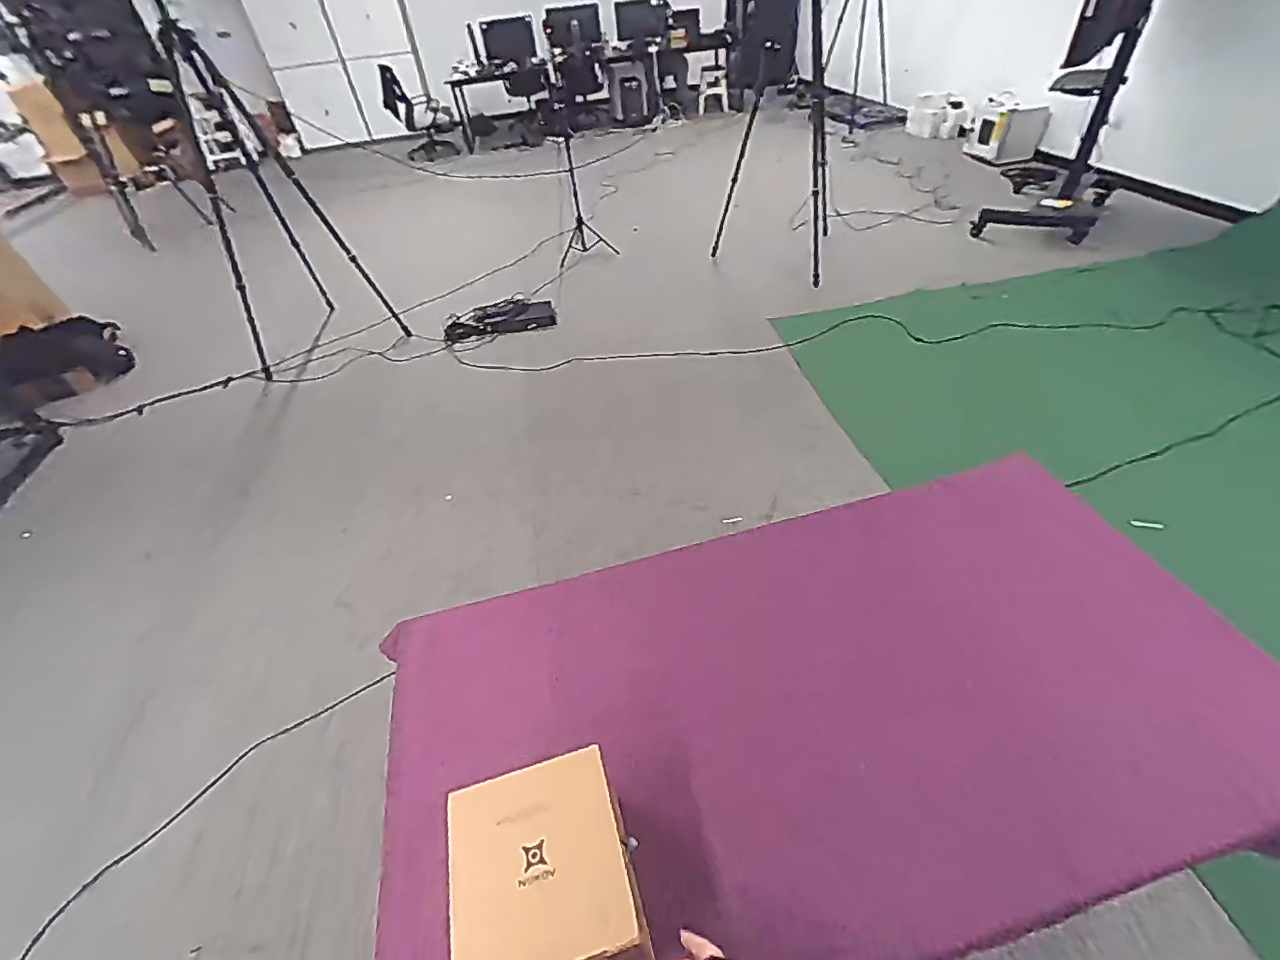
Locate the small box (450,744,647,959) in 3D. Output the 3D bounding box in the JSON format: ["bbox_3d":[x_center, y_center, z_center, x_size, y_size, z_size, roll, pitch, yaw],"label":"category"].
[{"bbox_3d":[-0.095,0.421,0.578,0.168,0.176,0.179,-14,43,-9],"label":"small box"}]
